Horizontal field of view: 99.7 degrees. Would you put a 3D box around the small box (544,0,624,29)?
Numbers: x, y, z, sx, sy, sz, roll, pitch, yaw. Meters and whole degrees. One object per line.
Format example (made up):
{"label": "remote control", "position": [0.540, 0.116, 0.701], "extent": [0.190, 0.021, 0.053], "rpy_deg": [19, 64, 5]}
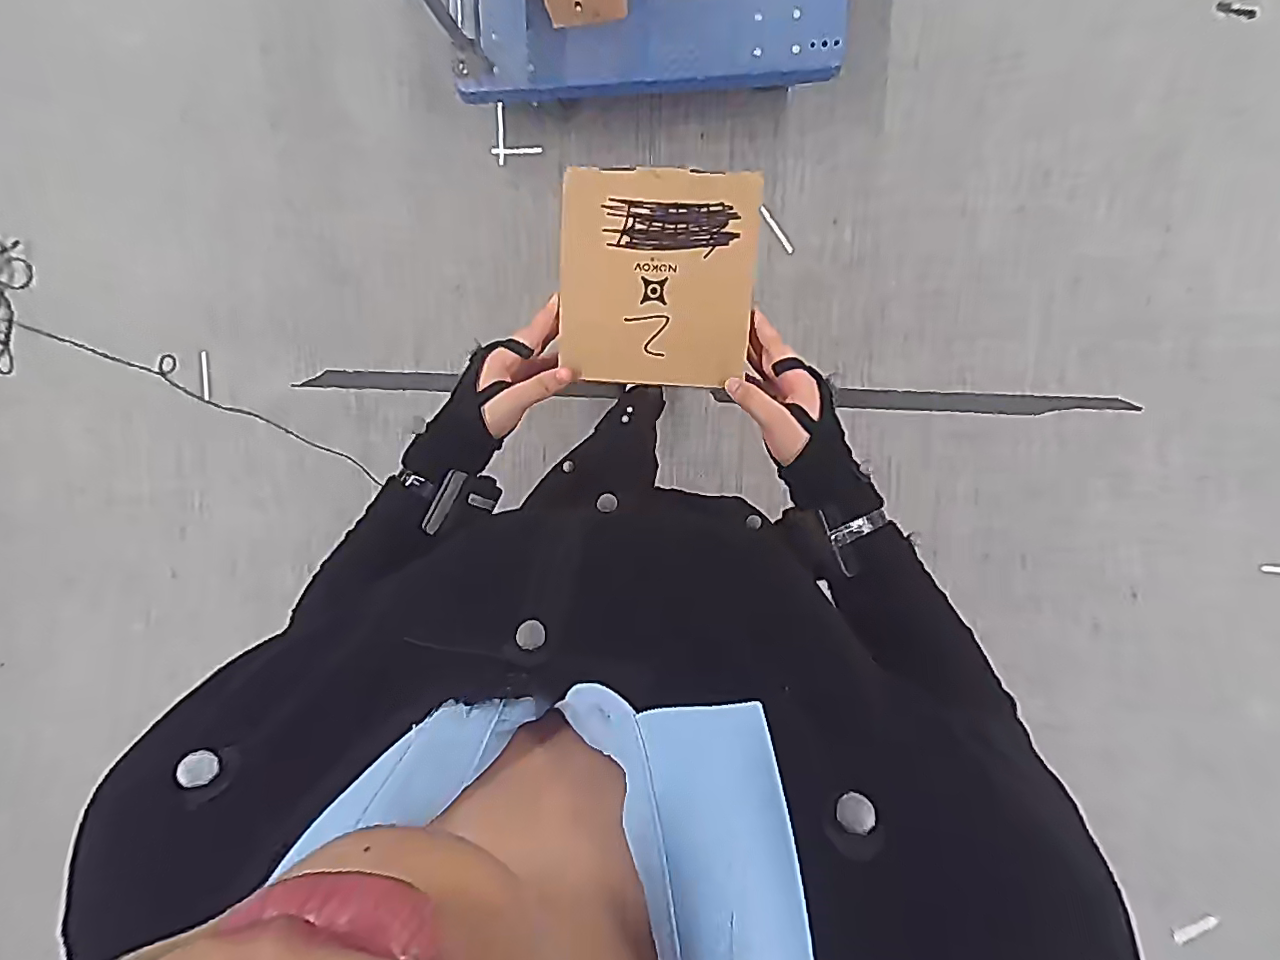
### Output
{"label": "small box", "position": [-0.124, -1.069, 1.092], "extent": [0.168, 0.176, 0.179], "rpy_deg": [-3, 96, 5]}
